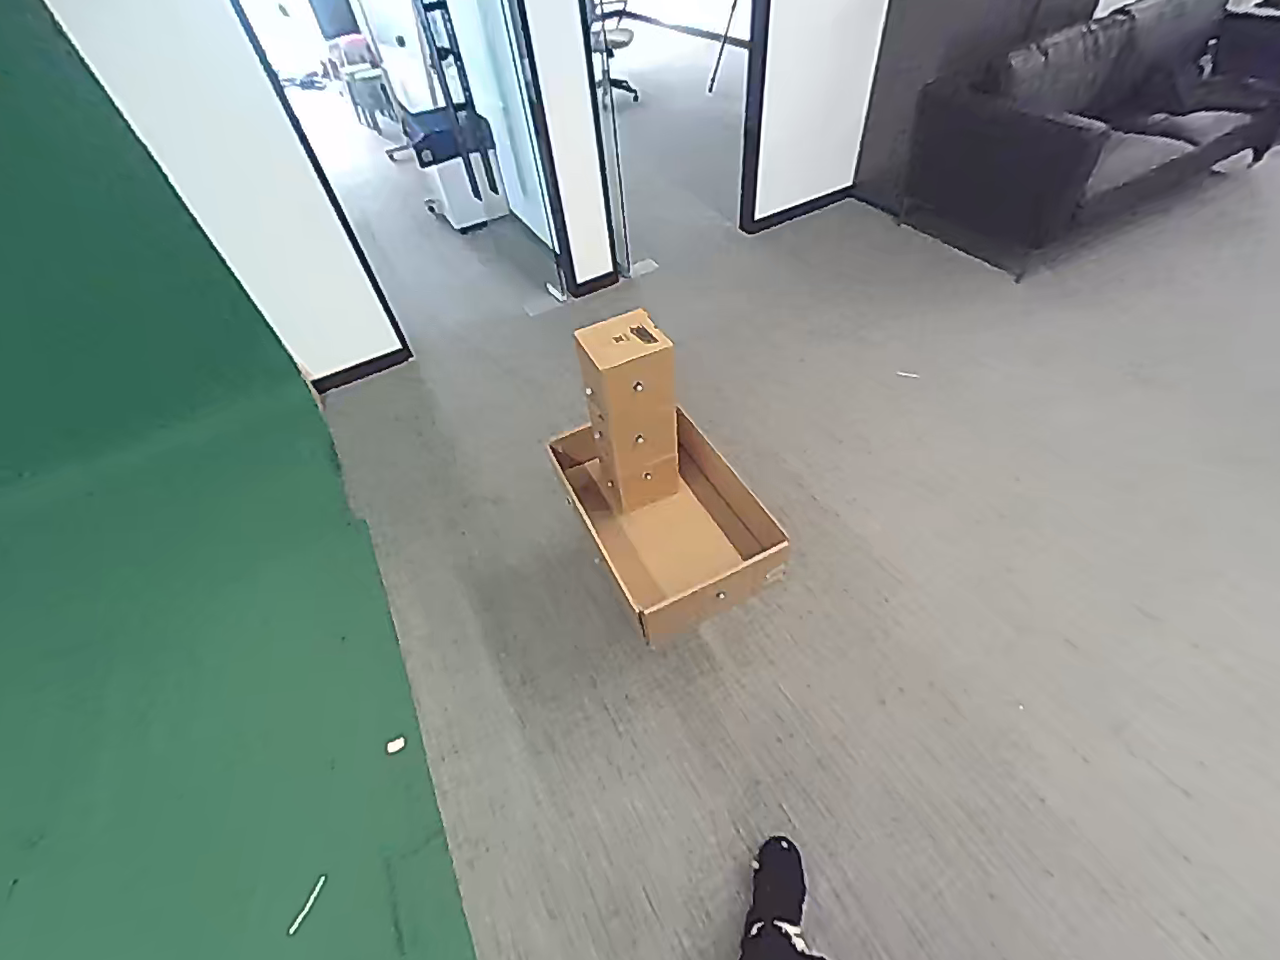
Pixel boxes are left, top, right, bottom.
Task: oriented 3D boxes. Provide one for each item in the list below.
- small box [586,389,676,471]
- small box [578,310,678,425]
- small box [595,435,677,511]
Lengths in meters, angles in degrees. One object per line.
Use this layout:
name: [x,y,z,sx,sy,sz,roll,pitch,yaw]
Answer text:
small box: [-0.017,-0.149,1.371,0.179,0.176,0.168,-22,52,-12]
small box: [-0.026,-0.257,1.246,0.179,0.176,0.168,-22,52,-13]
small box: [-0.007,-0.040,1.493,0.179,0.176,0.168,-20,51,-13]
